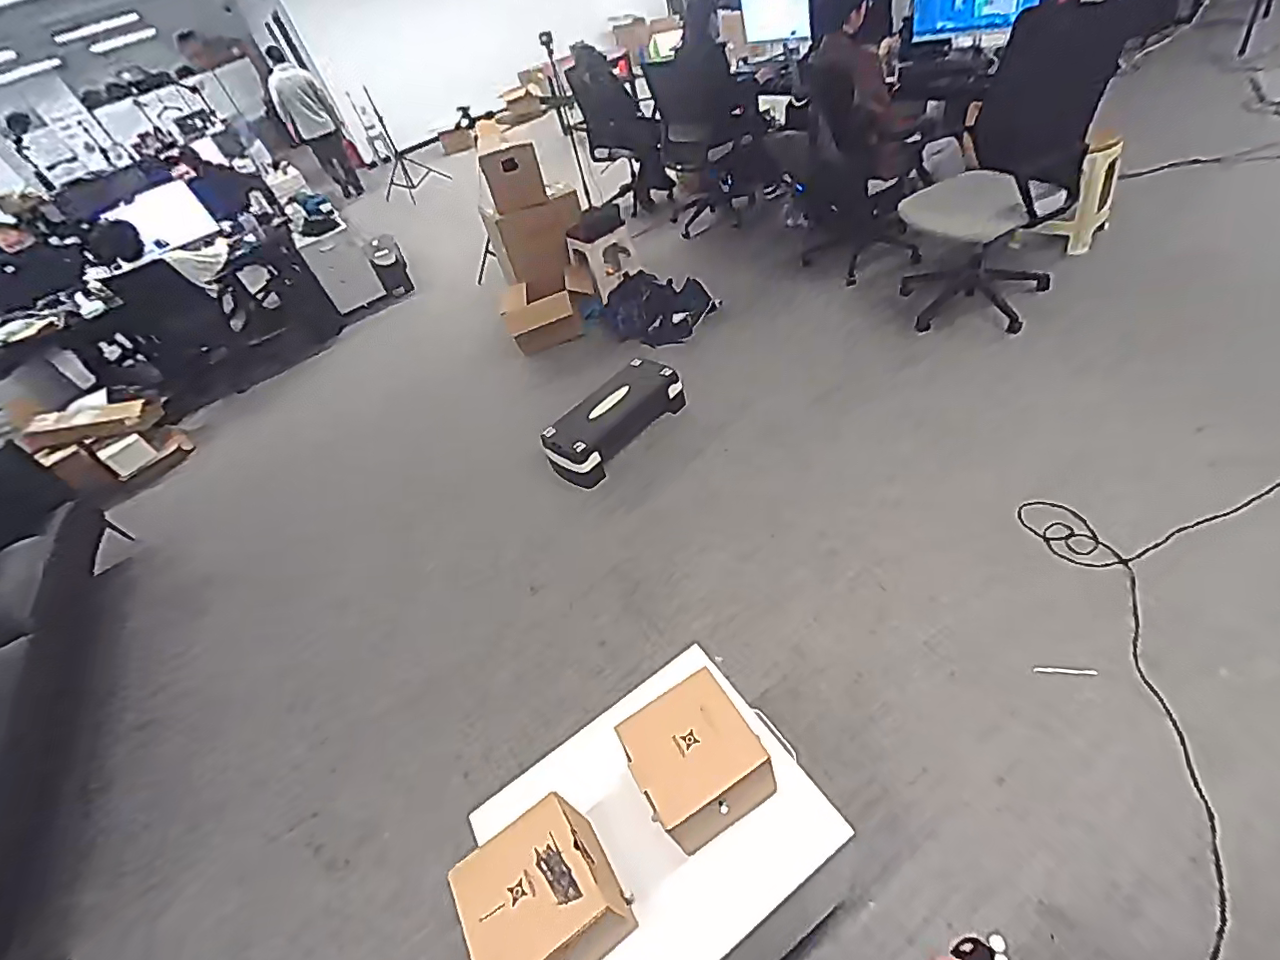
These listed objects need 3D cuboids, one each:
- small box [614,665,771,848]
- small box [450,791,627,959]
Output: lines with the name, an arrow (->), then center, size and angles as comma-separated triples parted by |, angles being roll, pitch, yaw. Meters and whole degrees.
small box -> 0.088, 0.435, 0.847 | 0.179, 0.176, 0.168 | -30, 46, -11
small box -> -0.134, 0.590, 0.767 | 0.179, 0.176, 0.168 | -32, 44, -13
